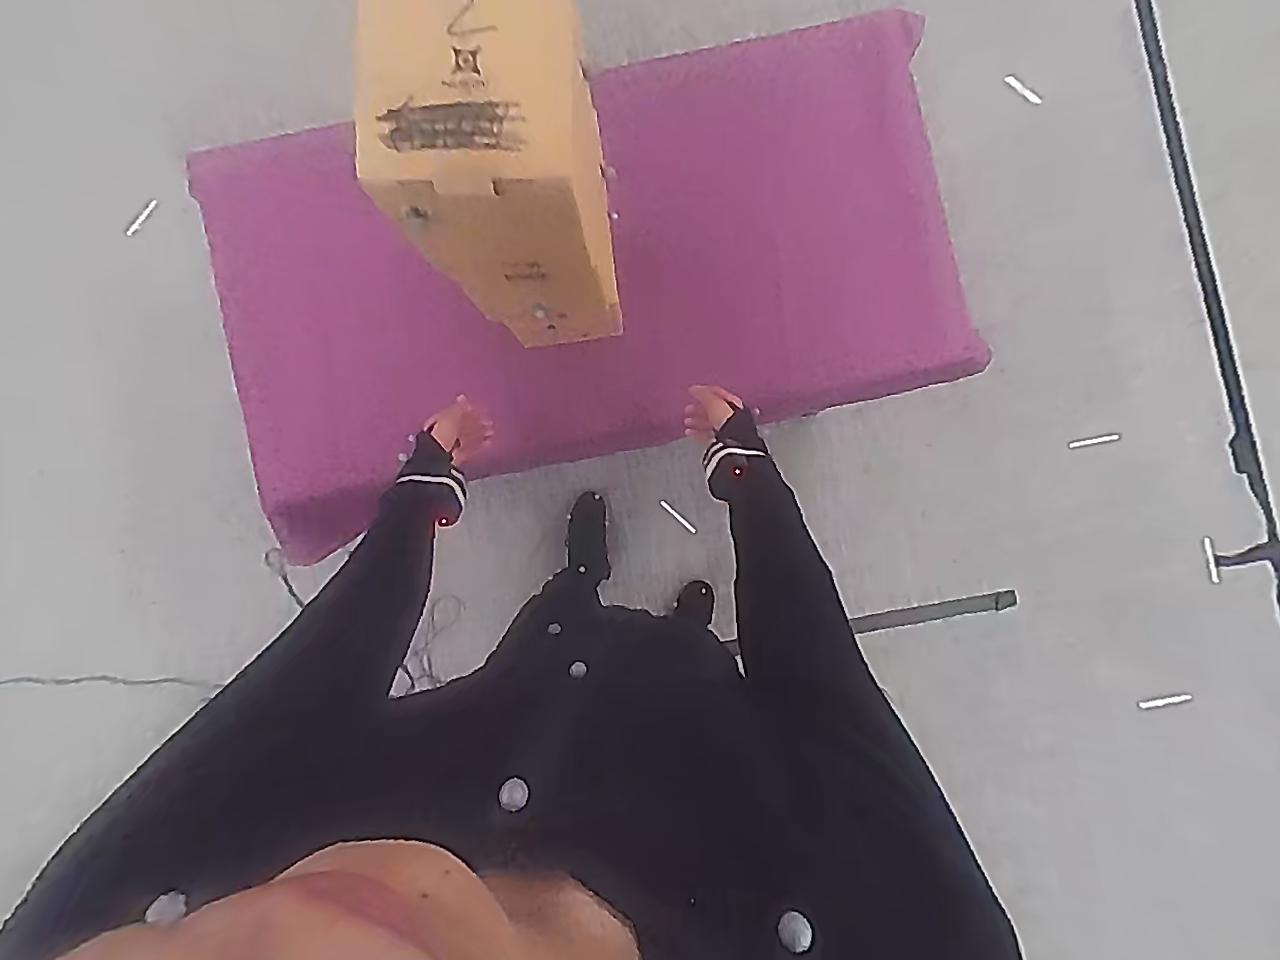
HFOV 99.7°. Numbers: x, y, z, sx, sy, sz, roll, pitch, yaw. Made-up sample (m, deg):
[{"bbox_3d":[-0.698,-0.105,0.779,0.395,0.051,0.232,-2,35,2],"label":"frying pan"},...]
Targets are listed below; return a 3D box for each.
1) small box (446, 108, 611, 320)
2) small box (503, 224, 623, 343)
[{"bbox_3d":[-0.123,-0.307,0.652,0.168,0.176,0.179,-1,89,1],"label":"small box"},{"bbox_3d":[-0.119,-0.316,0.817,0.168,0.176,0.179,-7,89,0],"label":"small box"}]
